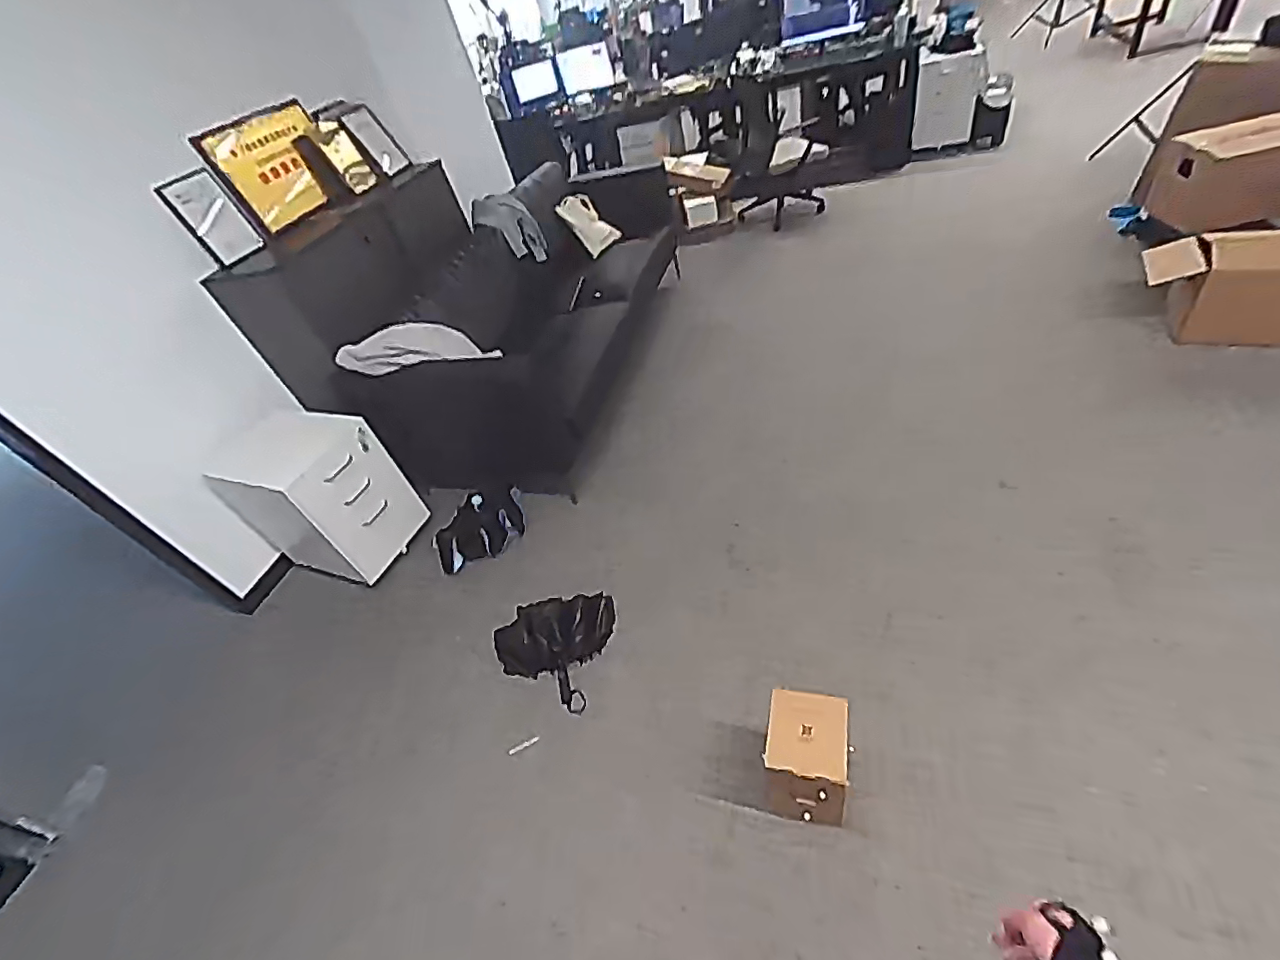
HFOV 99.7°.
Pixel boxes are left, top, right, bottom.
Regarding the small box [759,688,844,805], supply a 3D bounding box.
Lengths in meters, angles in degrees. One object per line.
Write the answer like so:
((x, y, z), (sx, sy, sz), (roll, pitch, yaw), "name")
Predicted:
((0.365, 0.597, 1.209), (0.168, 0.176, 0.179), (2, 44, 19), "small box")

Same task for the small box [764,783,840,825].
((0.400, 0.713, 1.318), (0.168, 0.176, 0.179), (1, 46, 19), "small box")
